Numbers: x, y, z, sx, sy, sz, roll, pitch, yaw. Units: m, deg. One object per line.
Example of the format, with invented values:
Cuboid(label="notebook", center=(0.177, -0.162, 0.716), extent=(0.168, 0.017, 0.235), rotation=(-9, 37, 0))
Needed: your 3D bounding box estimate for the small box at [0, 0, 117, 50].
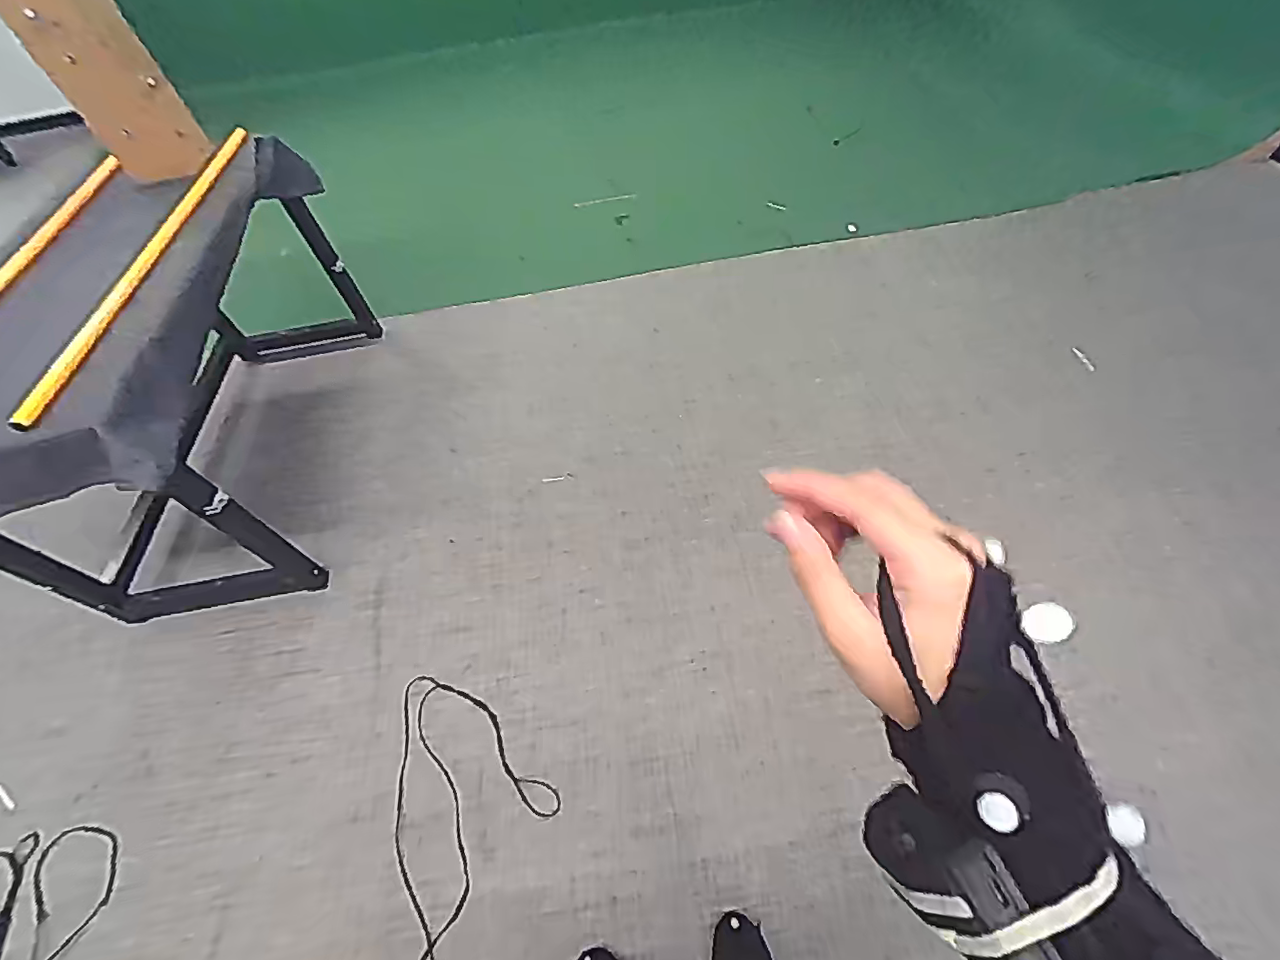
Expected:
Cuboid(label="small box", center=(-1.400, -1.147, 1.268), extent=(0.168, 0.176, 0.179), rotation=(-11, 56, 1))

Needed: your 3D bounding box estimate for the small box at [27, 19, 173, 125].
Cuboid(label="small box", center=(-1.385, -1.052, 1.402), extent=(0.179, 0.176, 0.168), rotation=(-11, 55, 0))

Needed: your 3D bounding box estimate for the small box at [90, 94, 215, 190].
Cuboid(label="small box", center=(-1.365, -0.955, 1.531), extent=(0.179, 0.176, 0.168), rotation=(-9, 54, 1))
